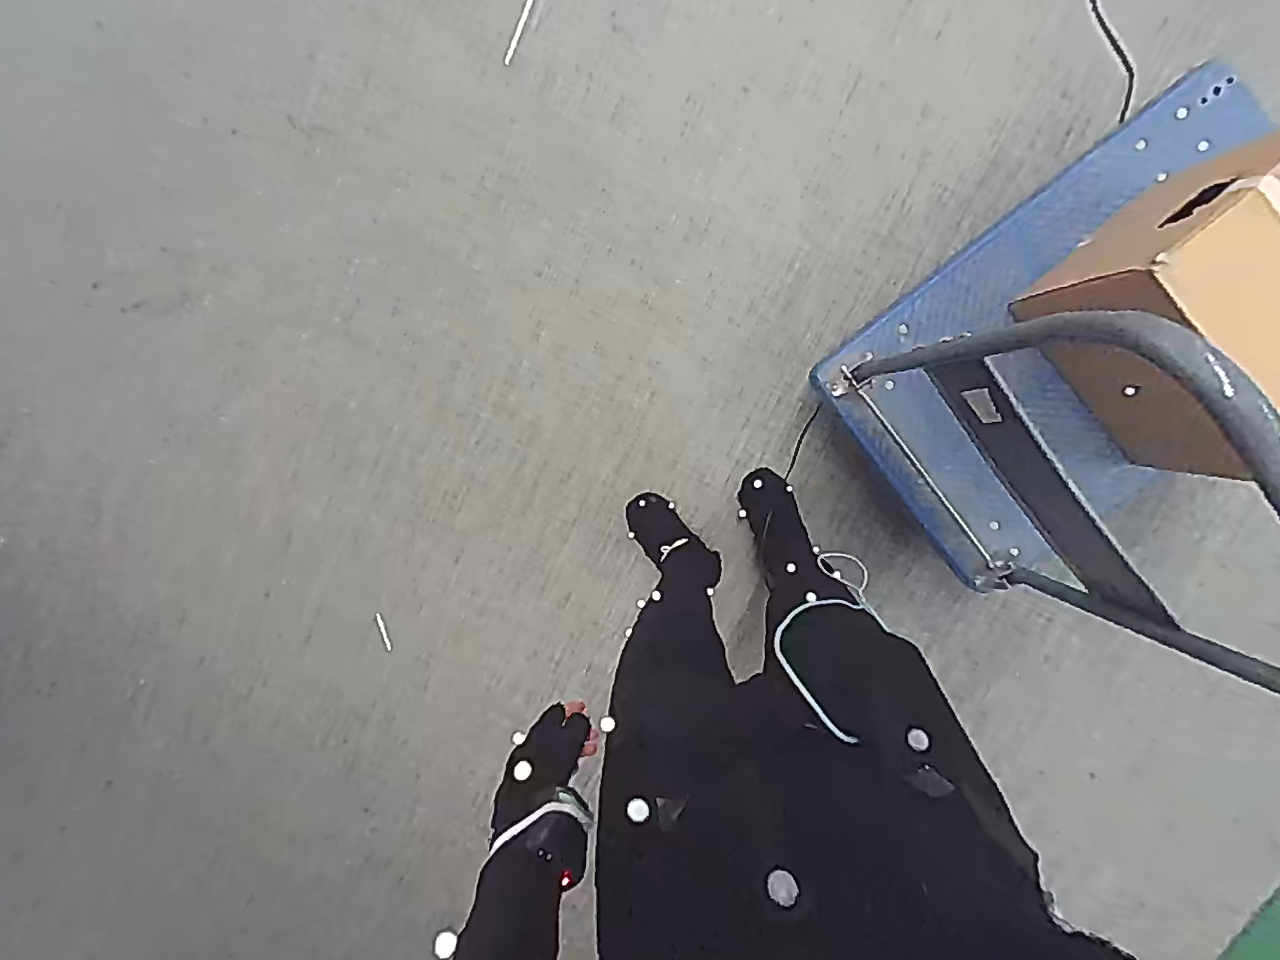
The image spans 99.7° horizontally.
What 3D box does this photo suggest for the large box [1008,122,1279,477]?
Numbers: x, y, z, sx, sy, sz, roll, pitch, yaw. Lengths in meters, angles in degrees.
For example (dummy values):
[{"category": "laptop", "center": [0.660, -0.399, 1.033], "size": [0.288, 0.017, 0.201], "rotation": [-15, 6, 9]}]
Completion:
[{"category": "large box", "center": [0.910, -0.259, 0.846], "size": [0.320, 0.320, 0.408], "rotation": [-42, 94, 8]}]
